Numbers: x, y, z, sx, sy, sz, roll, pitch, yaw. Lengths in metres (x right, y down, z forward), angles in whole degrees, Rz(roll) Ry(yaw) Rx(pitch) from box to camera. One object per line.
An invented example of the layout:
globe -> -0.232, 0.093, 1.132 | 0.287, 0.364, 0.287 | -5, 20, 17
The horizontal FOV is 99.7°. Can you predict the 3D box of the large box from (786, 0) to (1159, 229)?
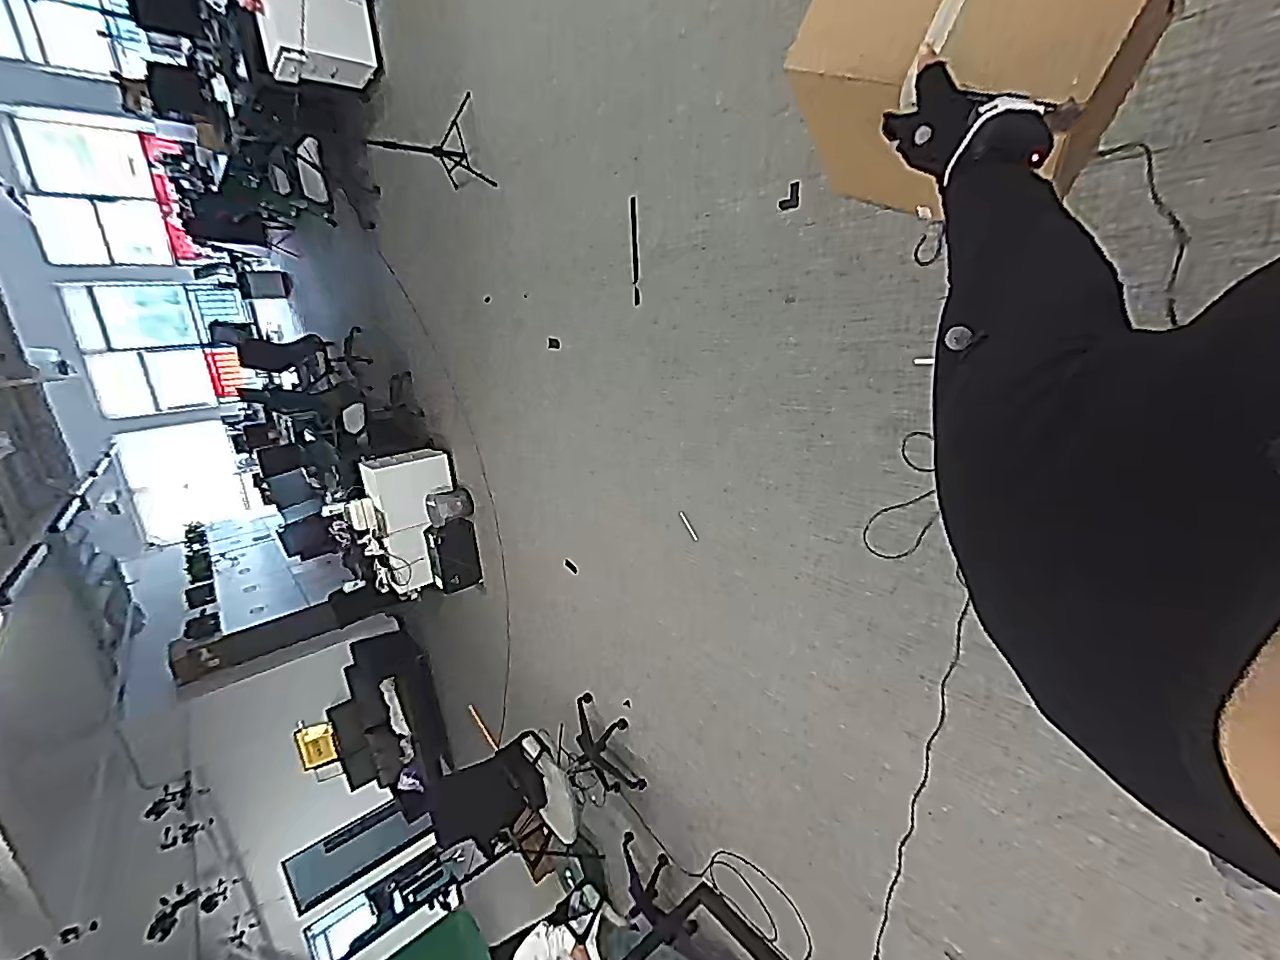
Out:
large box -> 0.438, -0.594, 0.655 | 0.320, 0.320, 0.408 | 31, 107, 27
